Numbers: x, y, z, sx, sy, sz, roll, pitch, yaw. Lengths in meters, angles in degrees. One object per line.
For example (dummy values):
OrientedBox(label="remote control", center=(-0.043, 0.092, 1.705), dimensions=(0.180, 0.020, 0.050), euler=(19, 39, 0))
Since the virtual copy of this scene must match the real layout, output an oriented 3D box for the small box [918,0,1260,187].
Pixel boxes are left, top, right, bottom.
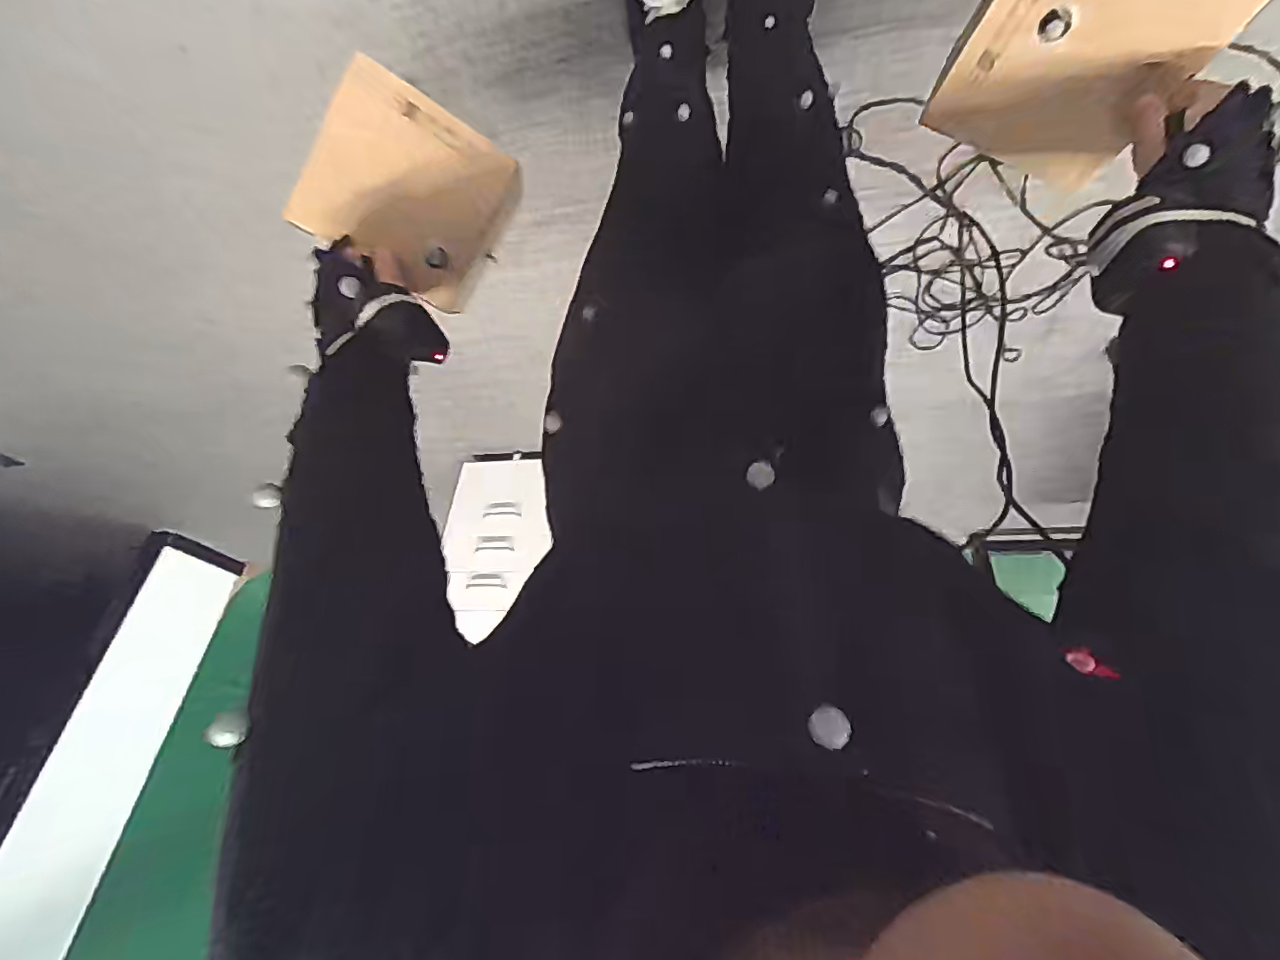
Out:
OrientedBox(label="small box", center=(0.377, -0.407, 0.471), dimensions=(0.176, 0.179, 0.168), euler=(28, 152, 3))
